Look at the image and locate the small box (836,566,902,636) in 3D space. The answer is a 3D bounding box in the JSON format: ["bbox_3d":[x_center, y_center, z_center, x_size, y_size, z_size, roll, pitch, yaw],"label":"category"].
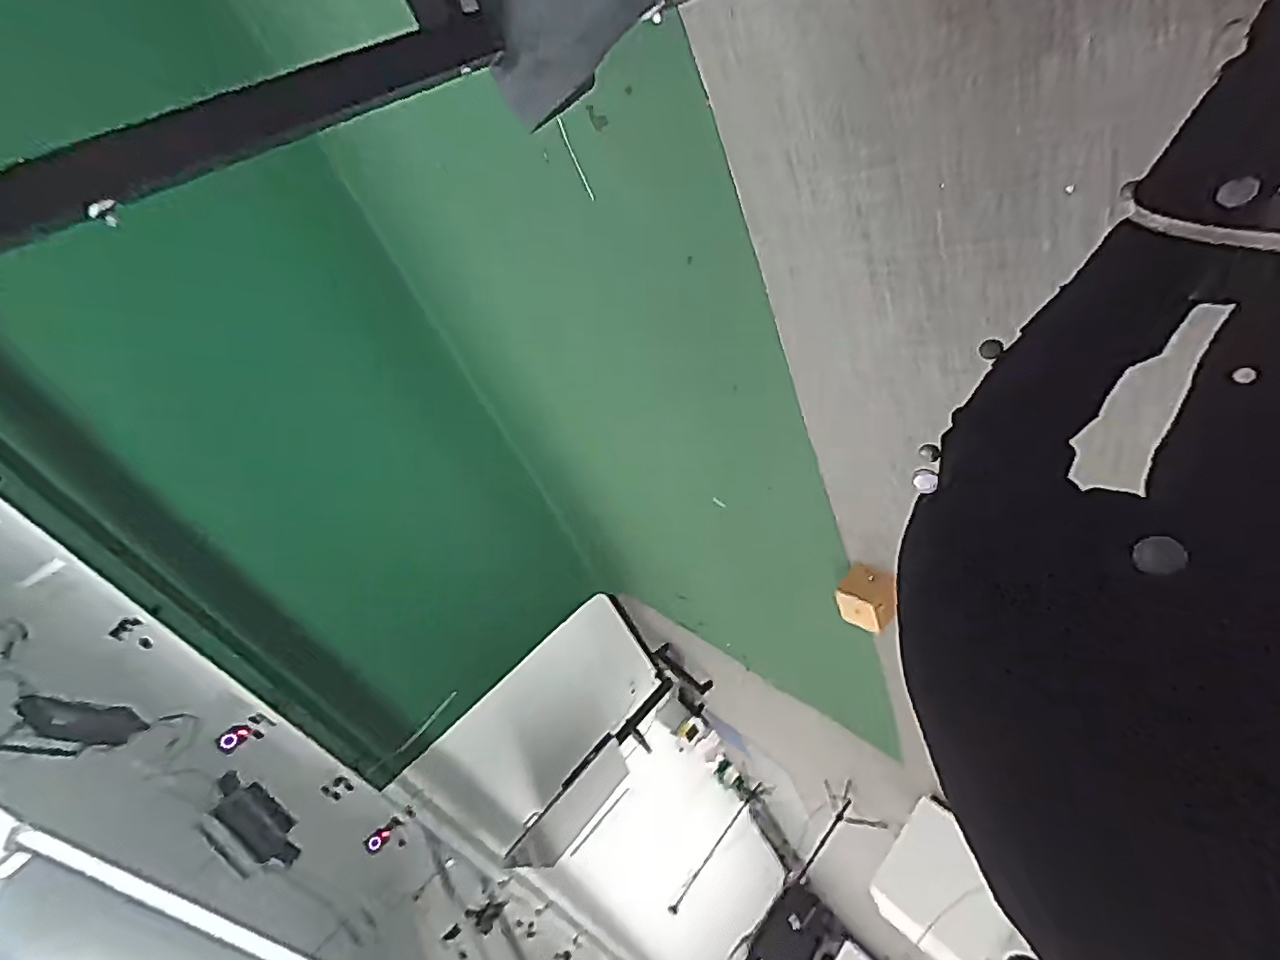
[{"bbox_3d":[0.902,0.469,2.116,0.168,0.176,0.179,16,140,52],"label":"small box"}]
